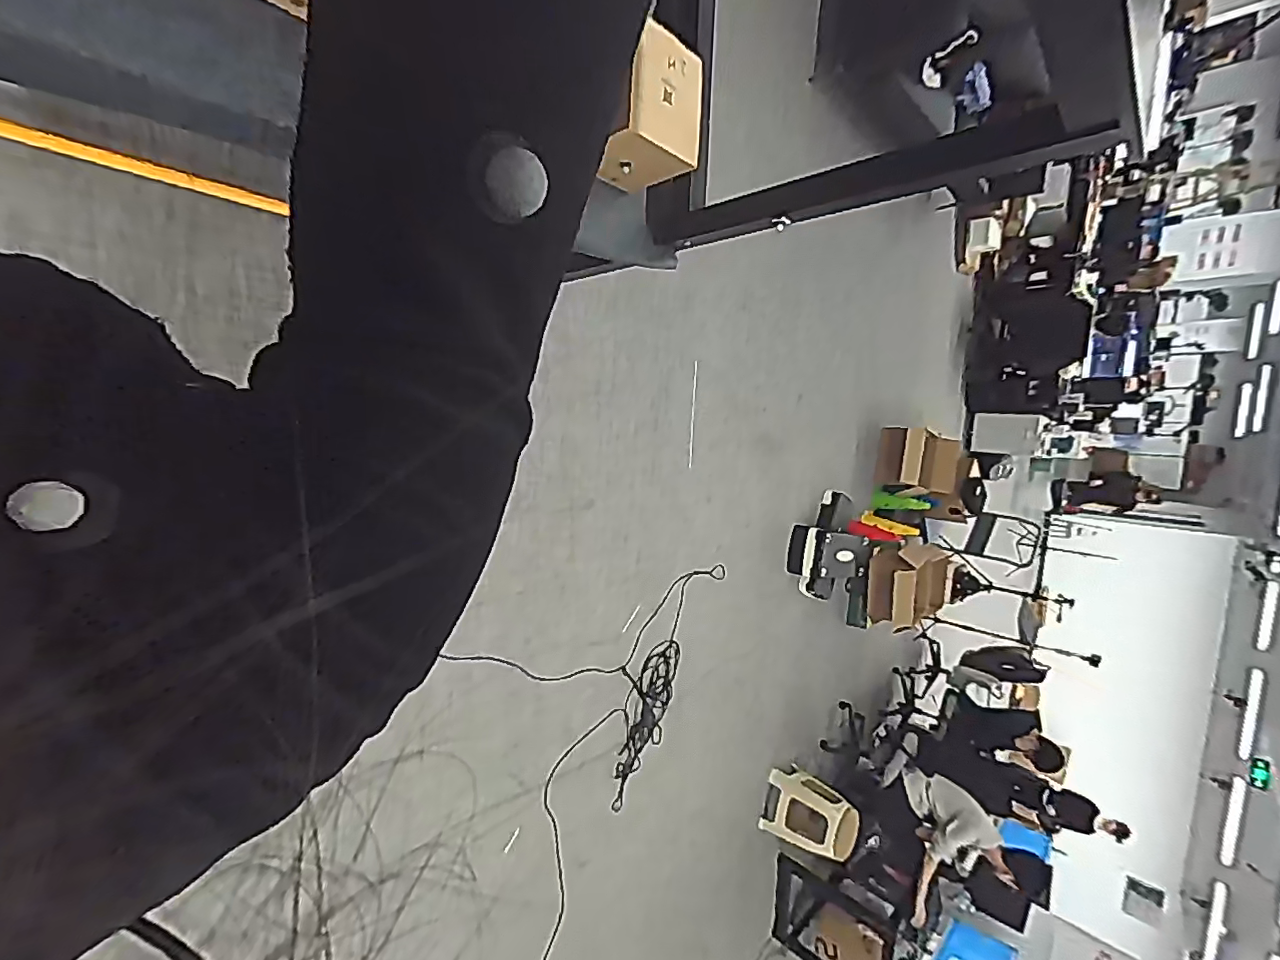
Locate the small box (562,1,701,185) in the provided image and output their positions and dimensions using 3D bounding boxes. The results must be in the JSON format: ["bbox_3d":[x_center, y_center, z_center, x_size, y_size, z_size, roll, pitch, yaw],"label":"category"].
[{"bbox_3d":[-0.018,-0.628,0.912,0.168,0.176,0.179,-3,98,-46],"label":"small box"}]
